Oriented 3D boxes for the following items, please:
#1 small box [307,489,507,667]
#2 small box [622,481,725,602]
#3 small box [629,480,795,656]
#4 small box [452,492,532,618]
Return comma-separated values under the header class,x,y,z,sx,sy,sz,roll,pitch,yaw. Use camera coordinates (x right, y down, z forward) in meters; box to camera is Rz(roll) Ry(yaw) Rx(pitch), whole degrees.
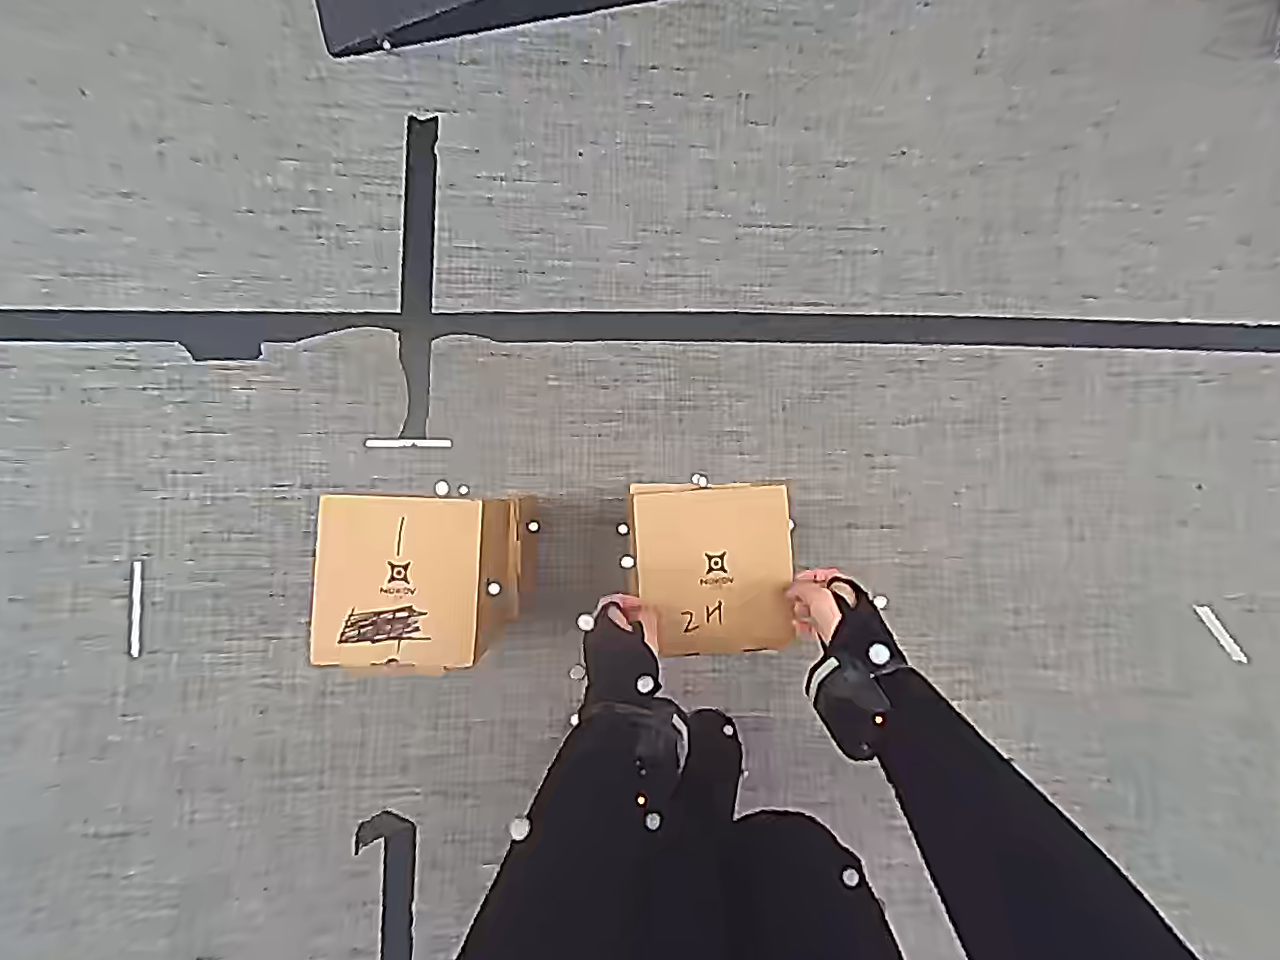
class,x,y,z,sx,sy,sz,roll,pitch,yaw
small box,-0.254,0.102,0.628,0.168,0.176,0.179,2,88,-4
small box,0.065,0.085,0.810,0.179,0.176,0.168,0,89,-4
small box,0.073,0.095,0.640,0.168,0.176,0.179,-3,87,-2
small box,-0.254,0.102,0.792,0.179,0.176,0.168,0,89,-3
